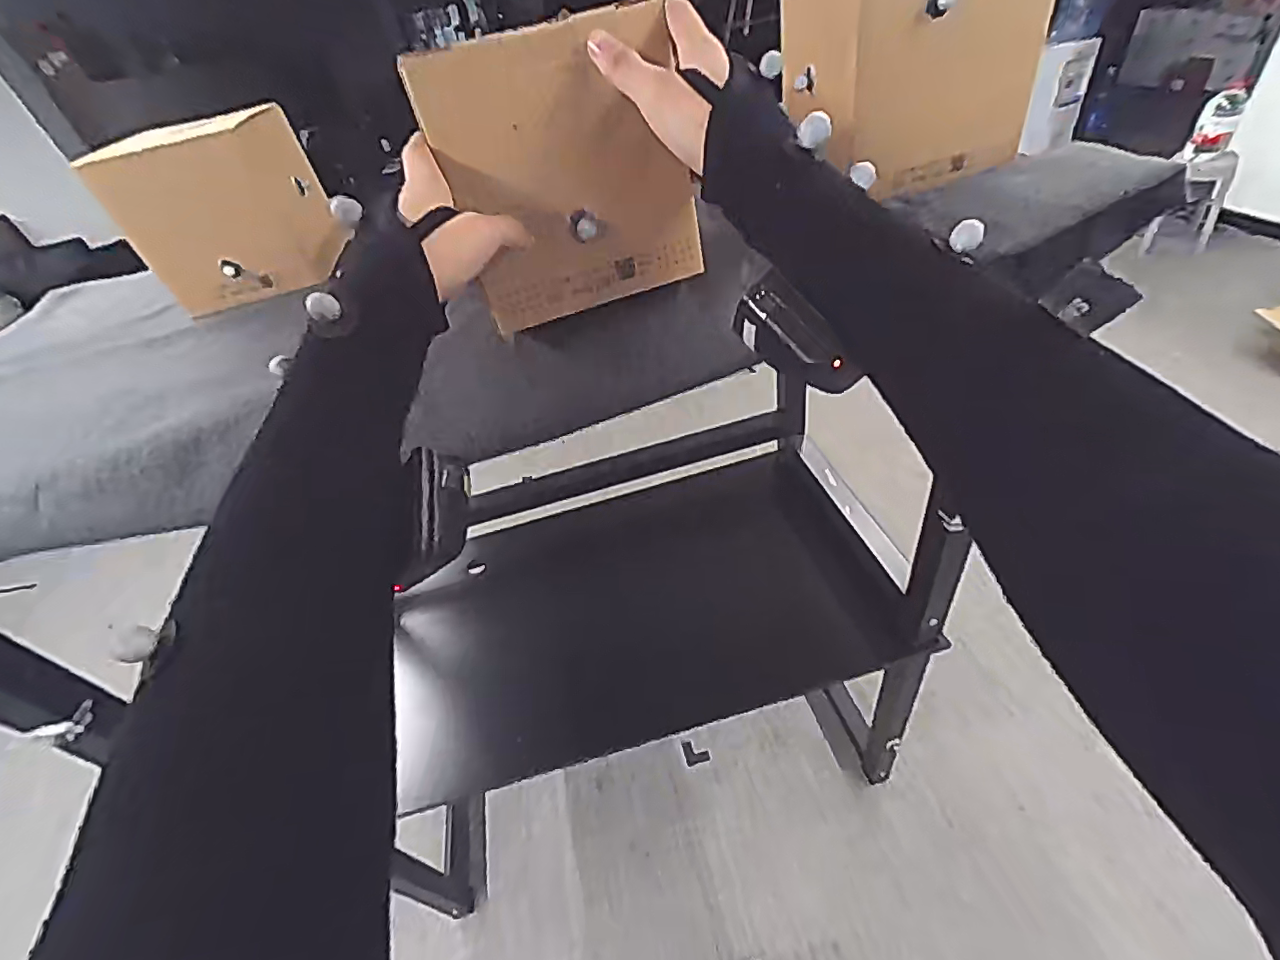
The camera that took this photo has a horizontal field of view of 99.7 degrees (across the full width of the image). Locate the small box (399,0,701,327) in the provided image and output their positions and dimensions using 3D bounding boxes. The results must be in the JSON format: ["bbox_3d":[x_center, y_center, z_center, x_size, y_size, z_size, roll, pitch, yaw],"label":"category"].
[{"bbox_3d":[-0.066,-0.237,0.425,0.168,0.176,0.179,-20,35,-7],"label":"small box"}]

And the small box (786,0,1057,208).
[{"bbox_3d":[0.247,-0.382,0.522,0.168,0.176,0.179,-14,41,0],"label":"small box"}]
